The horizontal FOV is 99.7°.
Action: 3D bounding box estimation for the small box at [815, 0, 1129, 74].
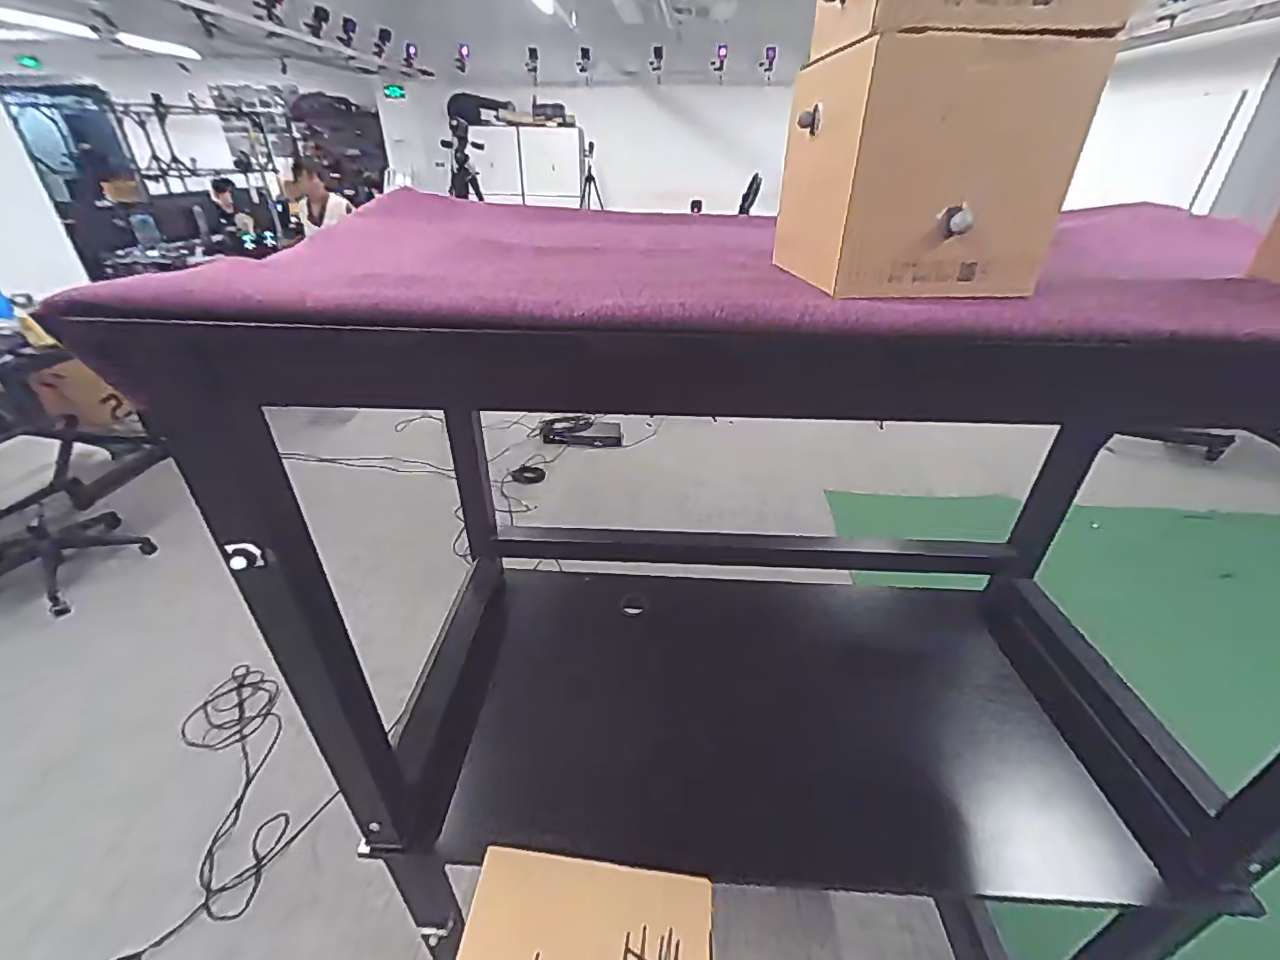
[{"bbox_3d":[0.237,-0.400,0.380,0.168,0.176,0.179,1,32,0],"label":"small box"}]
